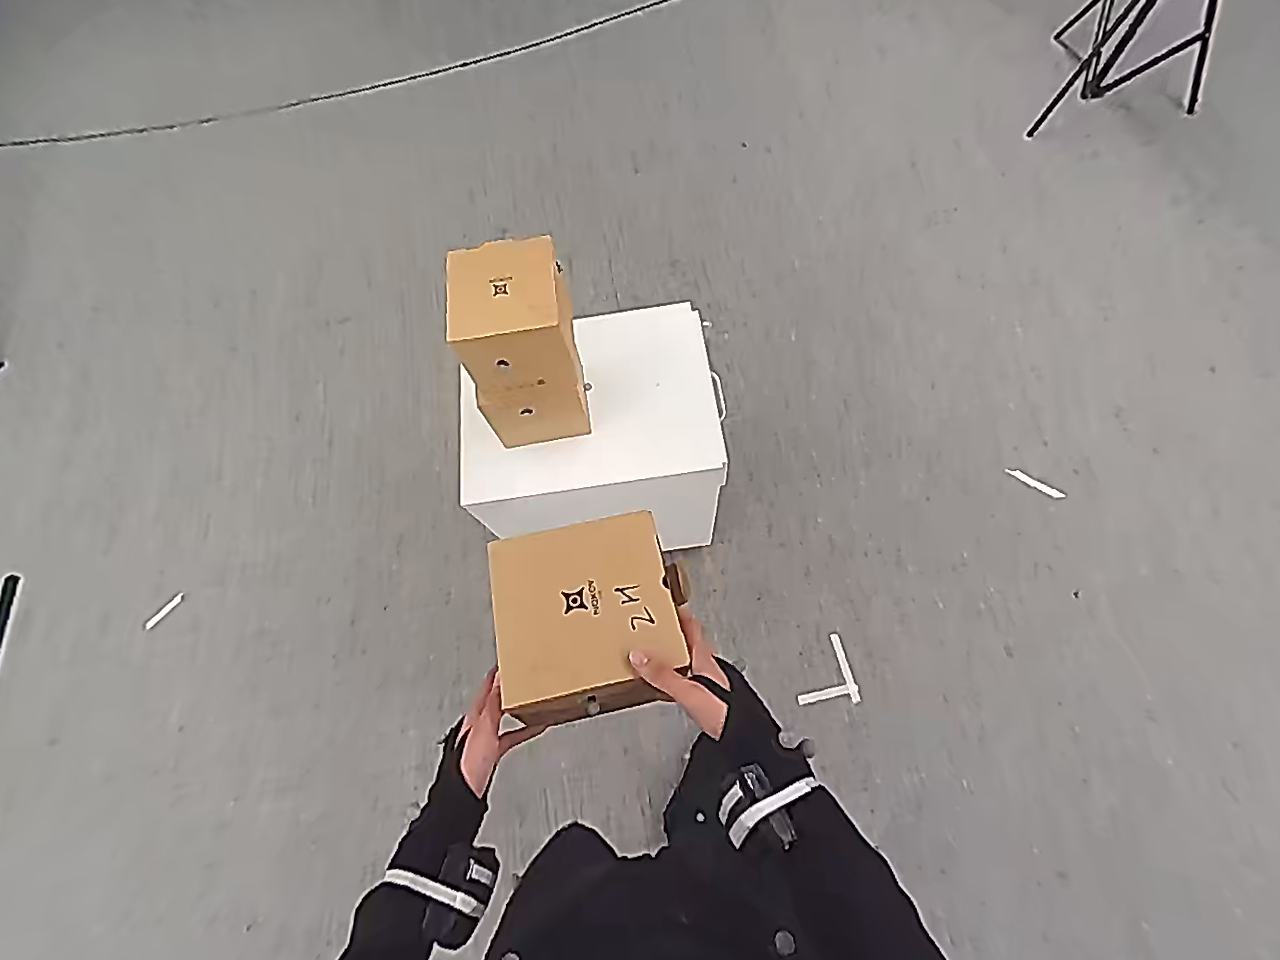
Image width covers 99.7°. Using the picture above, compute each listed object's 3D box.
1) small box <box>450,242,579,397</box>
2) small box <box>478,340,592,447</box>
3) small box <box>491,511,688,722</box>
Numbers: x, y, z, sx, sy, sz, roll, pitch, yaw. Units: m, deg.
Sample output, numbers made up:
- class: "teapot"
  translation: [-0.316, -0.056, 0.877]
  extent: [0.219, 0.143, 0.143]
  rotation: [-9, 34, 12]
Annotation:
- class: "small box"
  translation: [-0.198, -0.251, 0.885]
  extent: [0.168, 0.176, 0.179]
  rotation: [-9, 67, 1]
- class: "small box"
  translation: [-0.197, -0.176, 1.030]
  extent: [0.179, 0.176, 0.168]
  rotation: [-9, 68, 0]
- class: "small box"
  translation: [-0.054, 0.157, 0.599]
  extent: [0.179, 0.176, 0.168]
  rotation: [-10, 60, -7]
